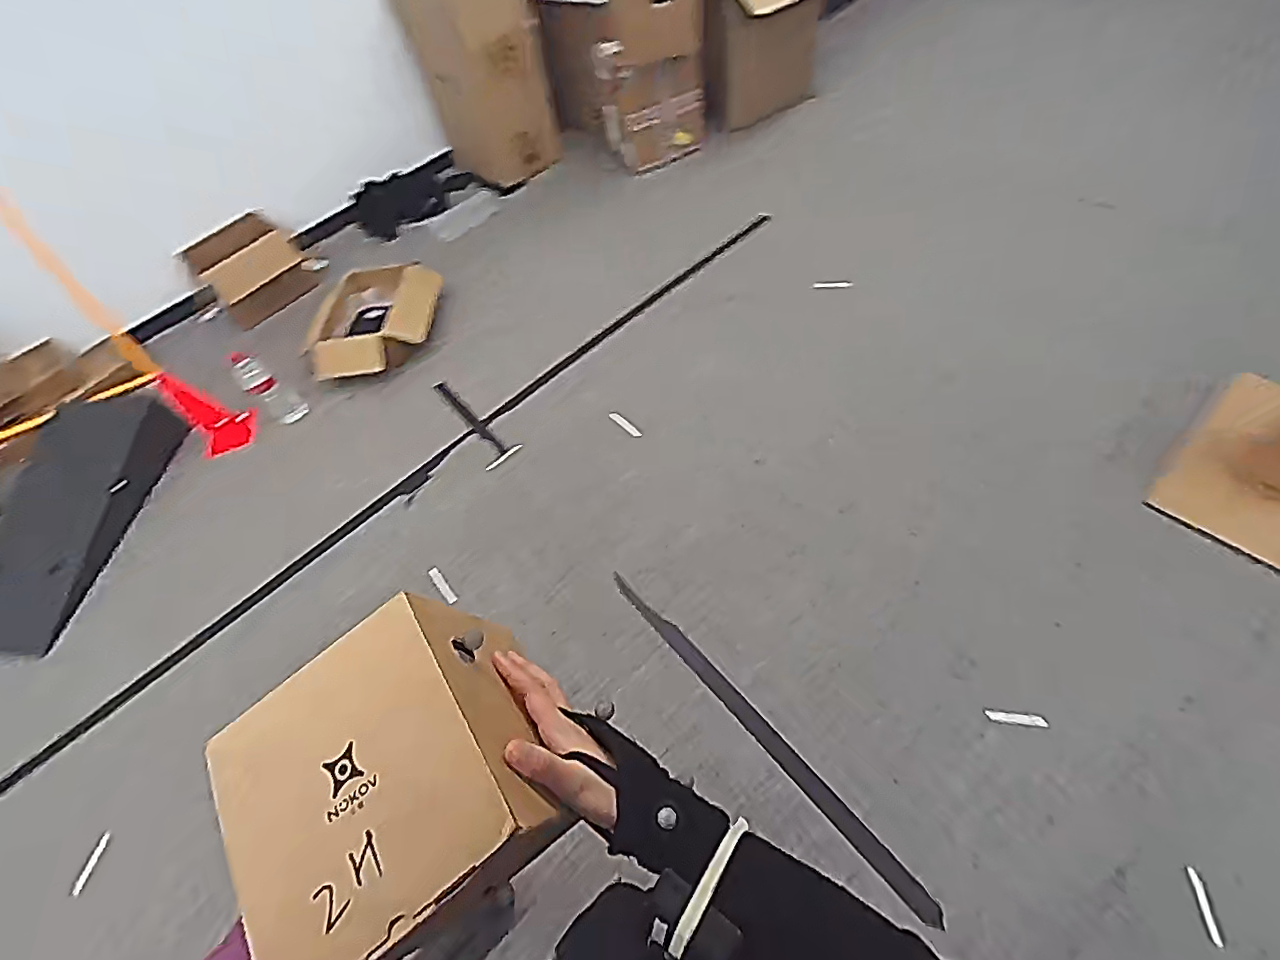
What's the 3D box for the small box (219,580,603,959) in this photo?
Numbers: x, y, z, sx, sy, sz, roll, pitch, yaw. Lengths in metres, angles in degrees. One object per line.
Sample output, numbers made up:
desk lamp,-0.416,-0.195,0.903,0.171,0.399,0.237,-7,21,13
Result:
small box,-0.154,0.208,0.402,0.168,0.176,0.179,-37,62,-3
